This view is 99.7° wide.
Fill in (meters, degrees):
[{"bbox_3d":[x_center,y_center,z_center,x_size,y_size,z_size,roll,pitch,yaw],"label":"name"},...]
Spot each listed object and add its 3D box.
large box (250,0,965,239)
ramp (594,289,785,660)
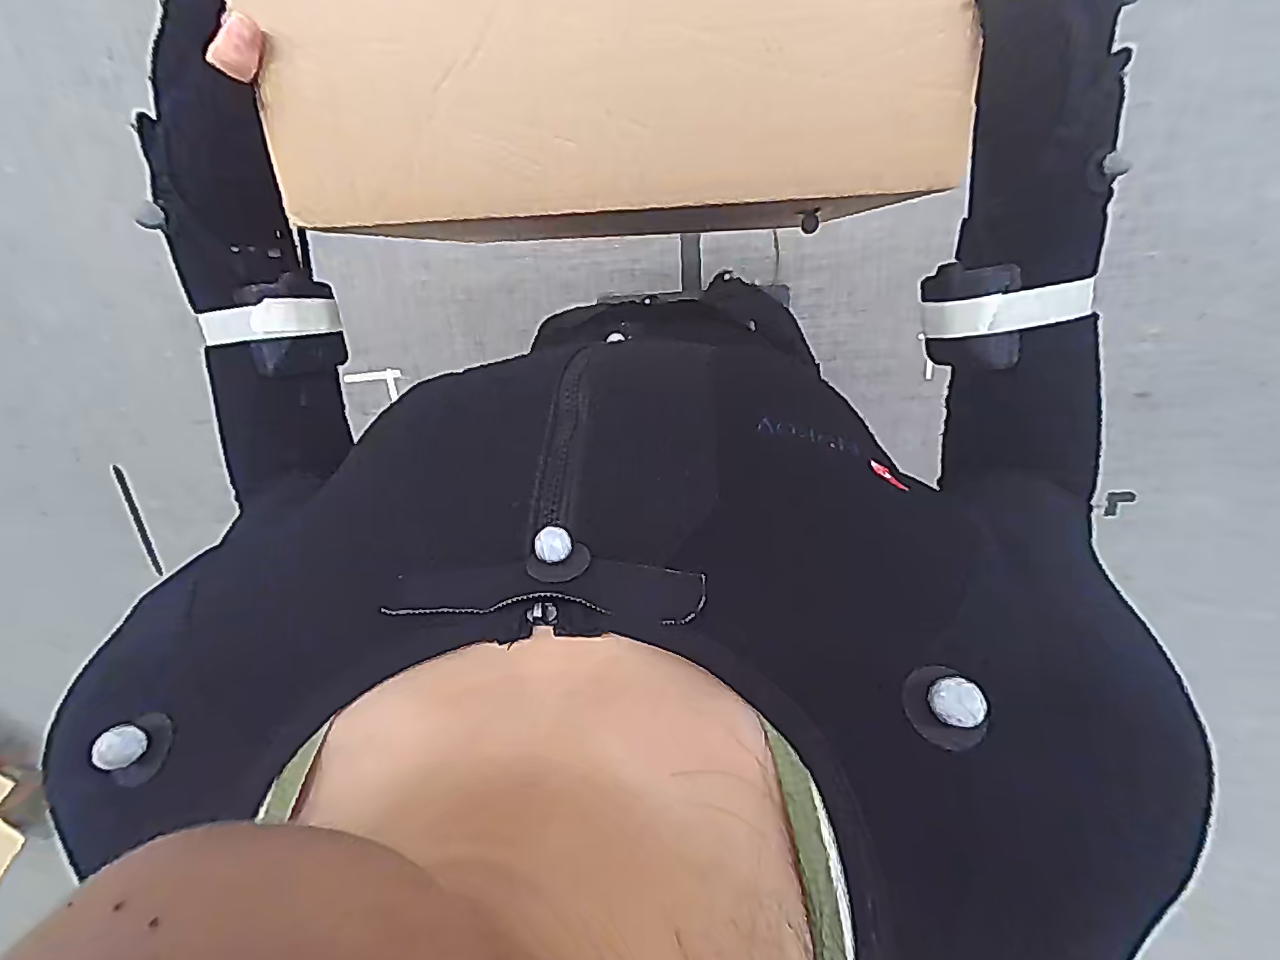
[{"bbox_3d":[-0.016,-0.368,0.419,0.408,0.320,0.320,-2,111,3],"label":"large box"},{"bbox_3d":[0.139,0.014,1.471,0.509,0.206,0.991,-3,108,7],"label":"ramp"}]
